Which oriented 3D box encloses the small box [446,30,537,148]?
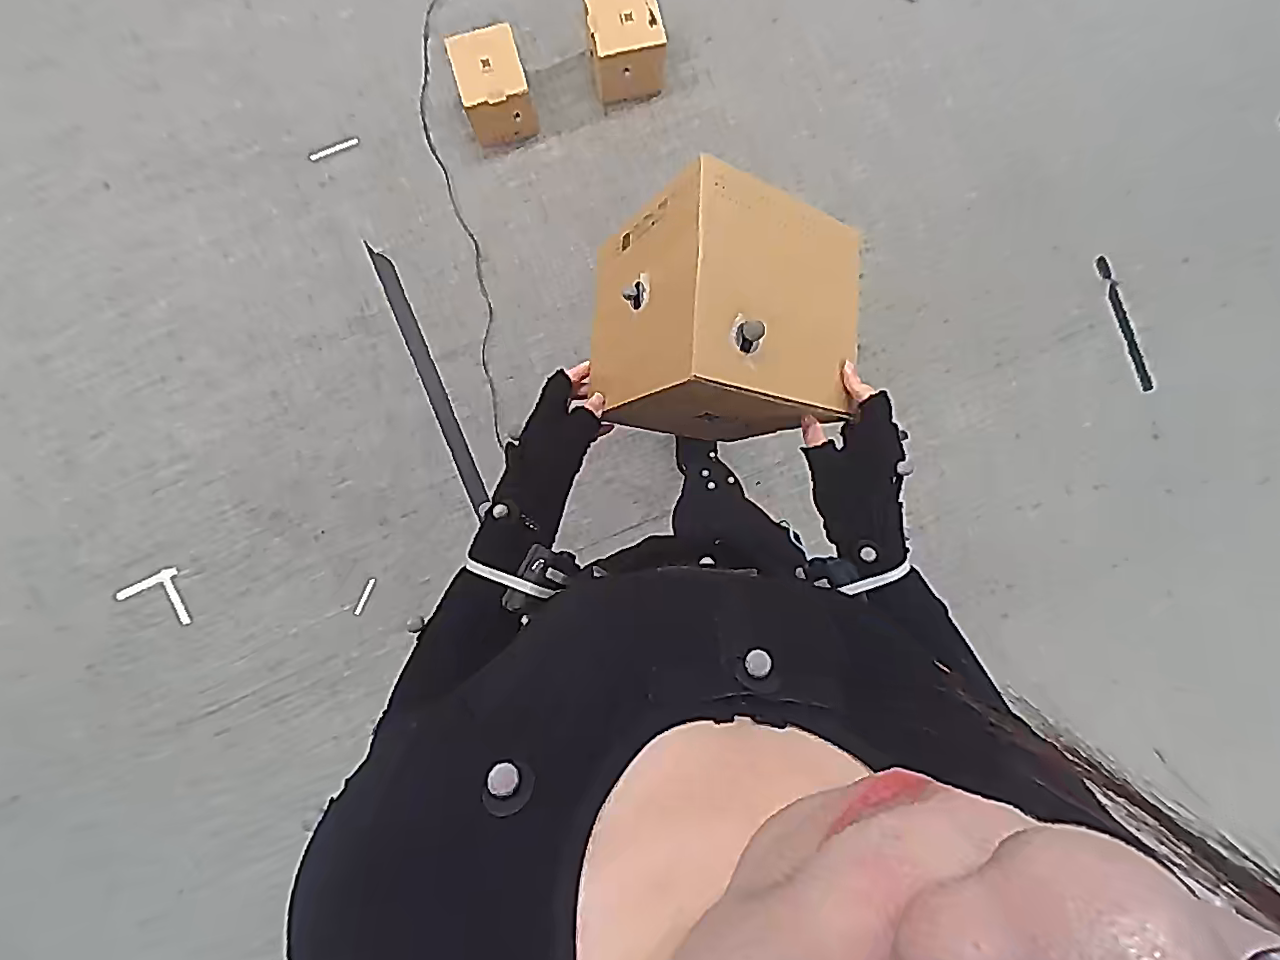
[{"bbox_3d":[-0.374,-0.996,1.398,0.168,0.176,0.179,-16,90,-2],"label":"small box"}]

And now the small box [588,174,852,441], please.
[{"bbox_3d":[0.069,-0.139,0.490,0.179,0.168,0.176,6,84,-31],"label":"small box"}]

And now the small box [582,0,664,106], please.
[{"bbox_3d":[-0.041,-1.118,1.405,0.179,0.176,0.168,-14,91,-1],"label":"small box"}]
